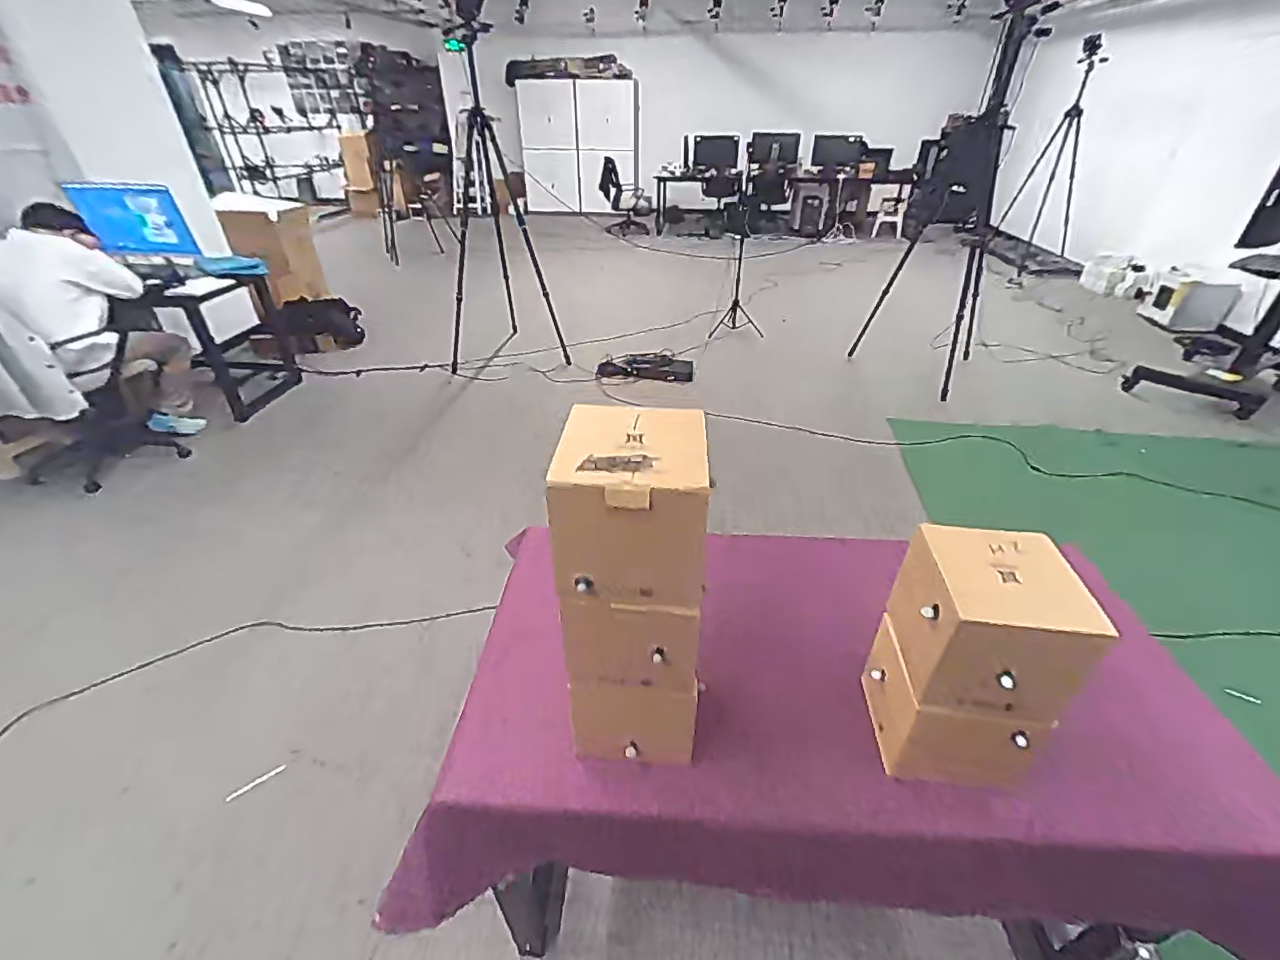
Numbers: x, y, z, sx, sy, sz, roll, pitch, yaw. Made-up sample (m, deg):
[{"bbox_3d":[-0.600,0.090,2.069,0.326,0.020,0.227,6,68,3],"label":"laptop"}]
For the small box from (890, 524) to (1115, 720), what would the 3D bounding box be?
[{"bbox_3d":[0.446,0.182,0.703,0.168,0.176,0.179,5,35,7],"label":"small box"}]

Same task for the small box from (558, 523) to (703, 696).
[{"bbox_3d":[-0.003,0.165,0.734,0.168,0.176,0.179,4,34,6],"label":"small box"}]

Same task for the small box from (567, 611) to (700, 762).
[{"bbox_3d":[-0.004,0.303,0.822,0.179,0.176,0.168,4,34,5],"label":"small box"}]

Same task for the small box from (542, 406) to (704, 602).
[{"bbox_3d":[-0.010,0.027,0.646,0.168,0.176,0.179,3,34,3],"label":"small box"}]

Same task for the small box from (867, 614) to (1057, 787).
[{"bbox_3d":[0.447,0.321,0.791,0.179,0.176,0.168,4,35,6],"label":"small box"}]
